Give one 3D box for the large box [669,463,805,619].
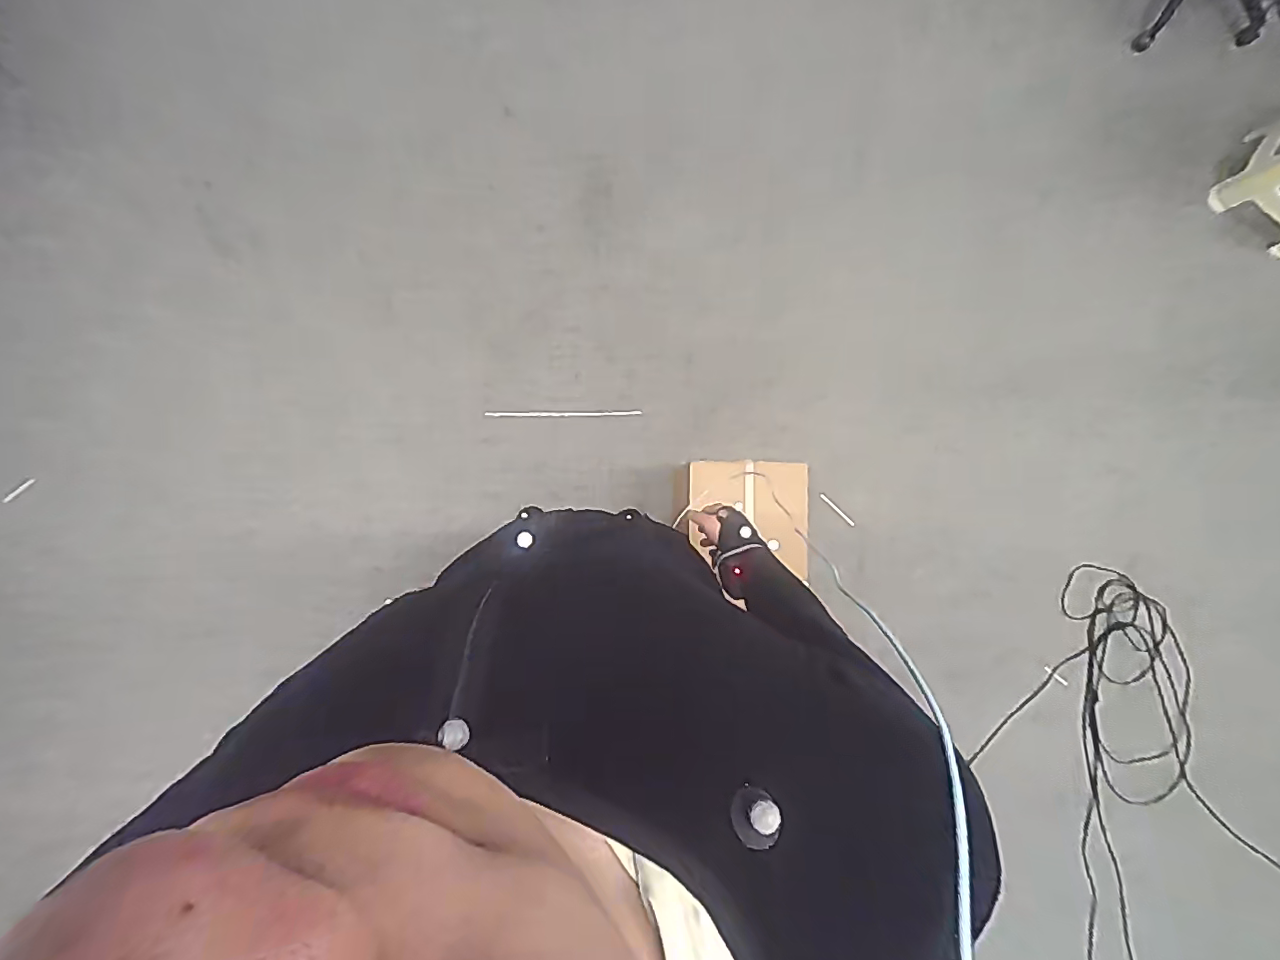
[{"bbox_3d":[0.259,0.159,1.538,0.320,0.320,0.408,1,88,-5],"label":"large box"}]
